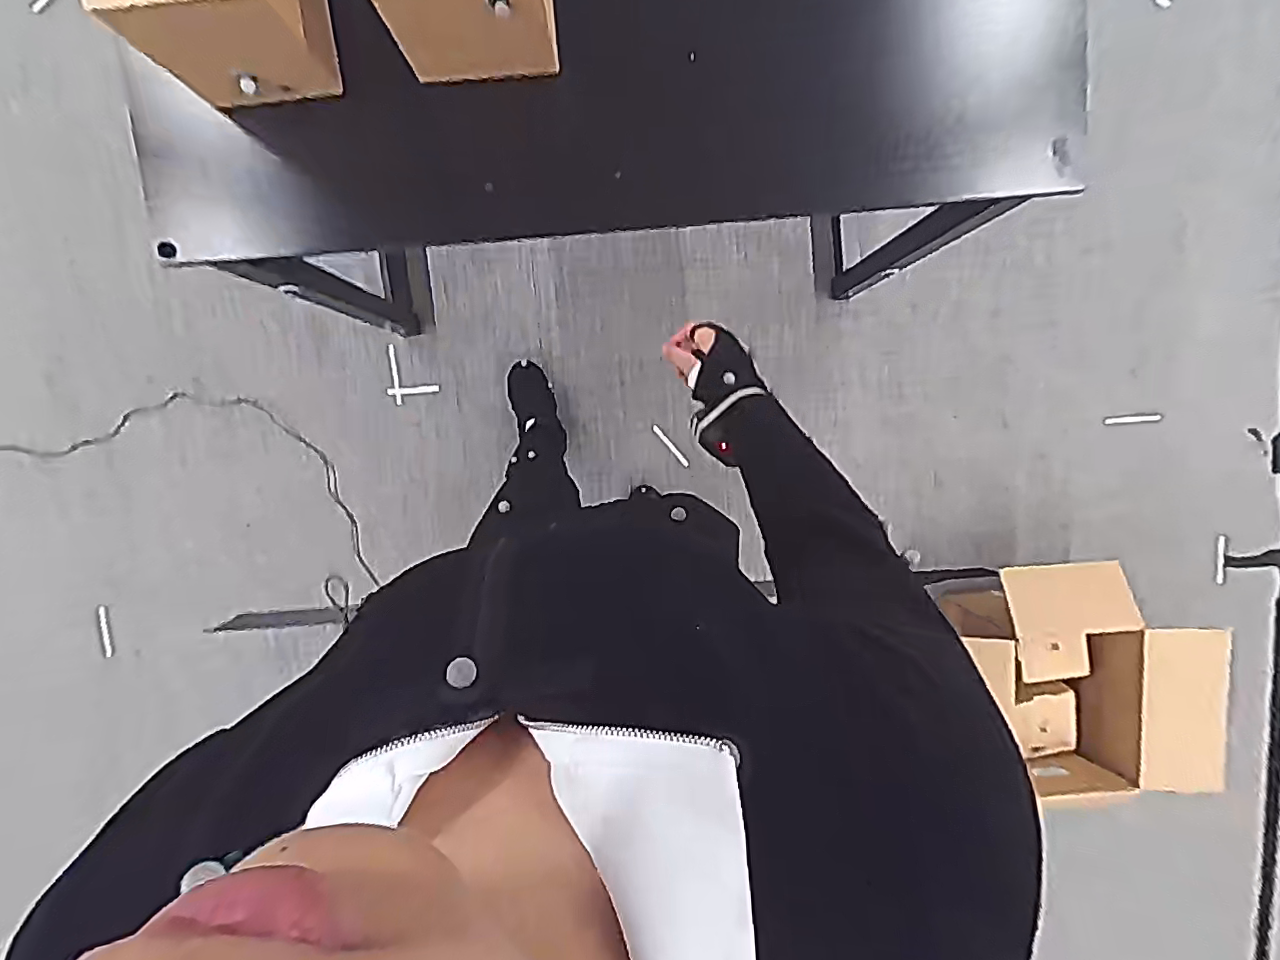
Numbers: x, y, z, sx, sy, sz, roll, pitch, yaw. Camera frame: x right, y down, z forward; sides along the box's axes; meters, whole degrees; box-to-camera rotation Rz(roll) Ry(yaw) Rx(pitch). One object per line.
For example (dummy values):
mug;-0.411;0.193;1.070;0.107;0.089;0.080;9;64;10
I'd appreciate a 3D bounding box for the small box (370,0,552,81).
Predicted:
small box;-0.195;-0.577;0.592;0.179;0.176;0.168;-5;96;-1

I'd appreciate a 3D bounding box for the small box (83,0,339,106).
small box;-0.461;-0.551;0.588;0.168;0.176;0.179;-7;98;-1
